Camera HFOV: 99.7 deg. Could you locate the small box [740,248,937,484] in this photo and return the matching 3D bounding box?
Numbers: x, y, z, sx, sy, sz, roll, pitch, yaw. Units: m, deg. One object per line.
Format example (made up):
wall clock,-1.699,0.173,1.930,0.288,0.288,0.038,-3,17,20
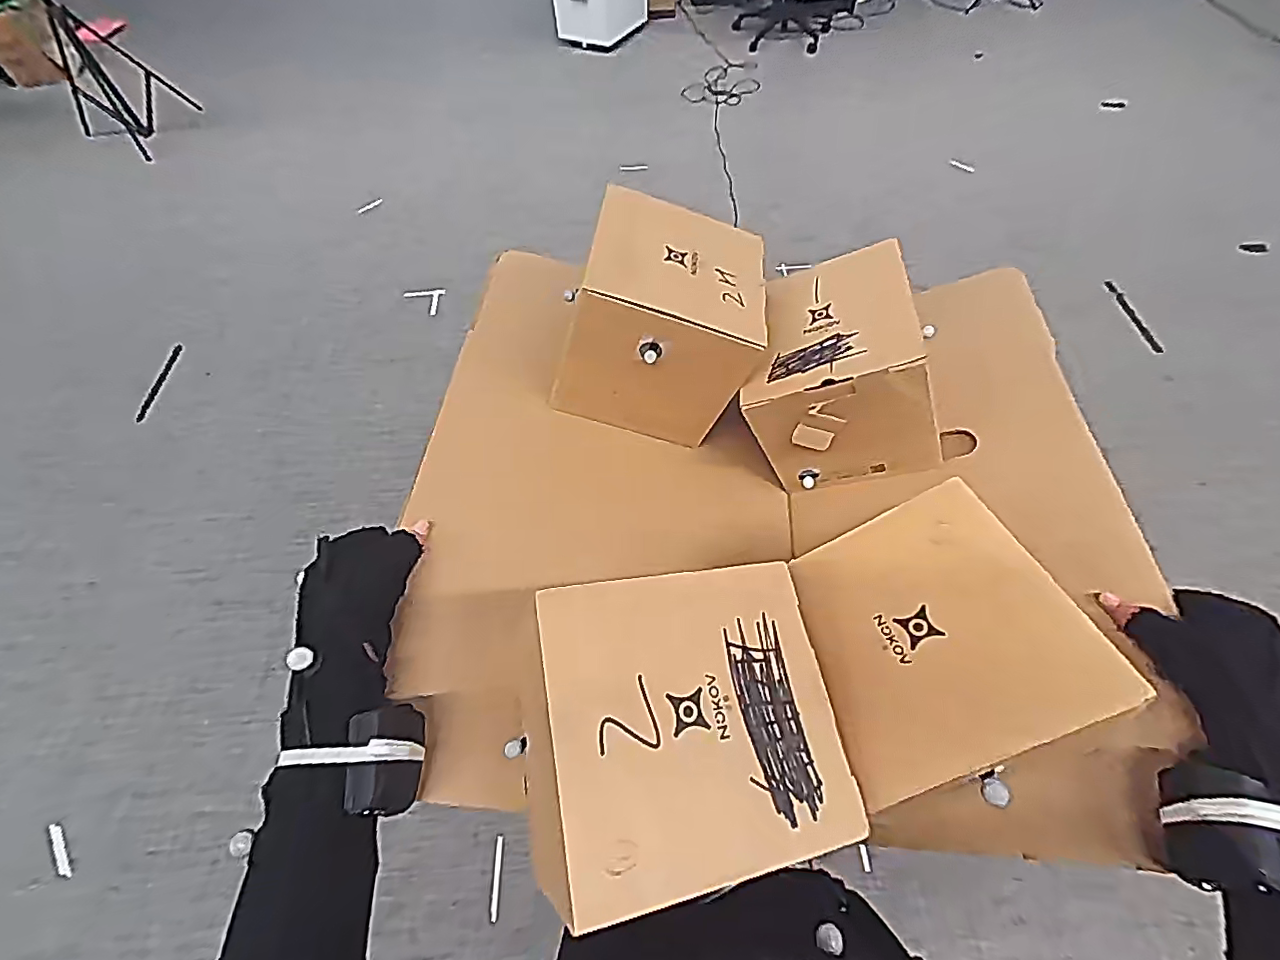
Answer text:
small box,0.219,-0.110,0.598,0.168,0.176,0.179,-11,52,27
